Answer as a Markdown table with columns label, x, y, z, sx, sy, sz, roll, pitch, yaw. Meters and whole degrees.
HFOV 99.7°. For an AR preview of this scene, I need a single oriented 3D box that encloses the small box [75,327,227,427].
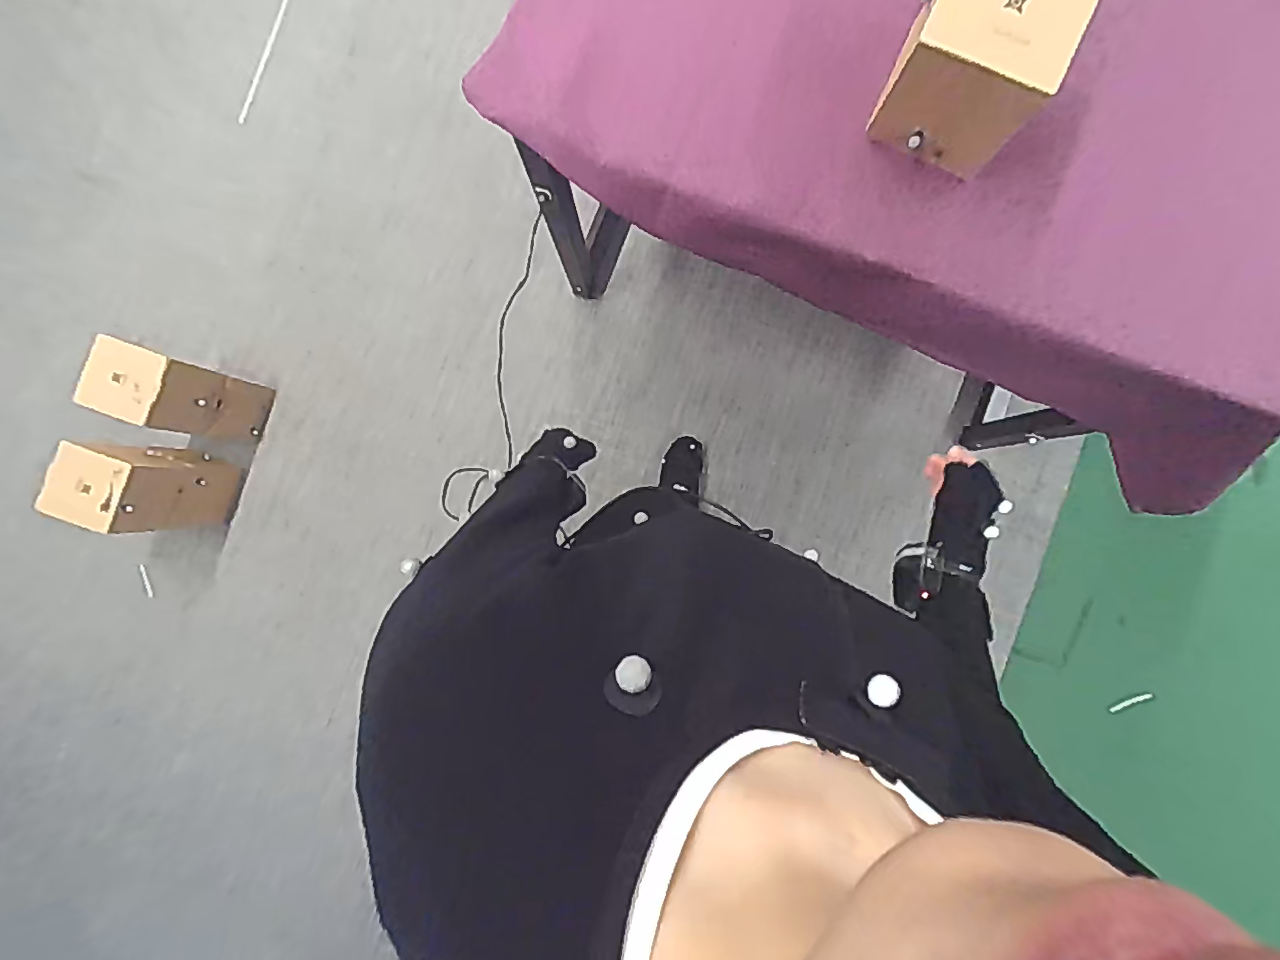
| label | x | y | z | sx | sy | sz | roll | pitch | yaw |
| --- | --- | --- | --- | --- | --- | --- | --- | --- | --- |
| small box | -1.134 | -0.232 | 1.268 | 0.179 | 0.176 | 0.168 | 20 | 89 | 2 |

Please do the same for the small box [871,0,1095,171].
| label | x | y | z | sx | sy | sz | roll | pitch | yaw |
| --- | --- | --- | --- | --- | --- | --- | --- | --- | --- |
| small box | 0.423 | -0.543 | 0.683 | 0.168 | 0.176 | 0.179 | 25 | 89 | 3 |

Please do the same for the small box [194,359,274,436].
| label | x | y | z | sx | sy | sz | roll | pitch | yaw |
| --- | --- | --- | --- | --- | --- | --- | --- | --- | --- |
| small box | -1.125 | -0.222 | 1.432 | 0.179 | 0.176 | 0.168 | 19 | 88 | 2 |
